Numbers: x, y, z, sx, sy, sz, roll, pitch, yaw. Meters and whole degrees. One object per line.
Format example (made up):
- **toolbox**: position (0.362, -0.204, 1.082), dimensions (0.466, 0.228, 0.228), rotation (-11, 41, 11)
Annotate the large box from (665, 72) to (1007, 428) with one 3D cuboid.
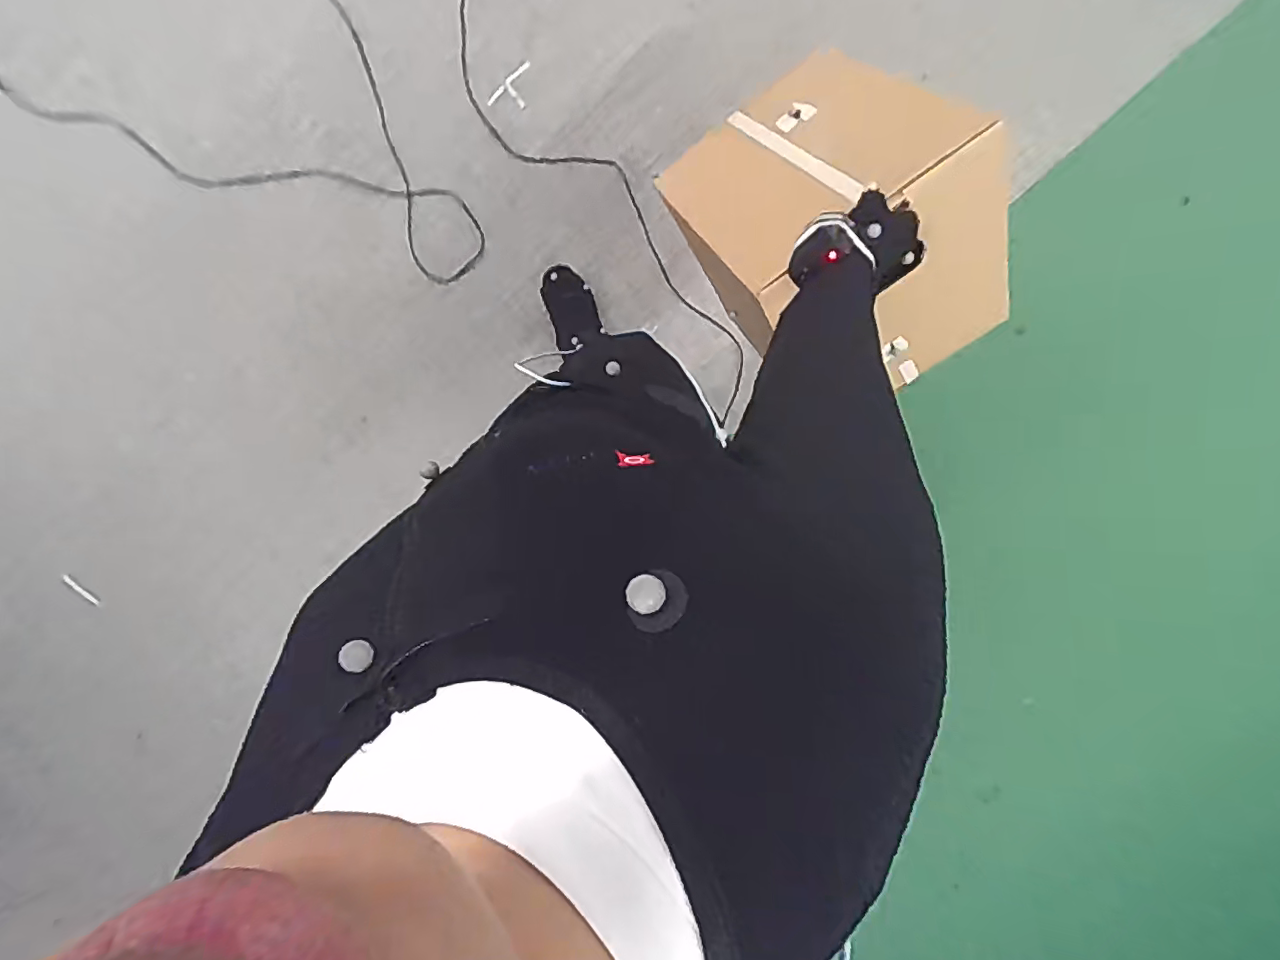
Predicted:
- **large box**: position (0.297, -0.362, 0.865), dimensions (0.320, 0.408, 0.320), rotation (-33, 136, 12)
